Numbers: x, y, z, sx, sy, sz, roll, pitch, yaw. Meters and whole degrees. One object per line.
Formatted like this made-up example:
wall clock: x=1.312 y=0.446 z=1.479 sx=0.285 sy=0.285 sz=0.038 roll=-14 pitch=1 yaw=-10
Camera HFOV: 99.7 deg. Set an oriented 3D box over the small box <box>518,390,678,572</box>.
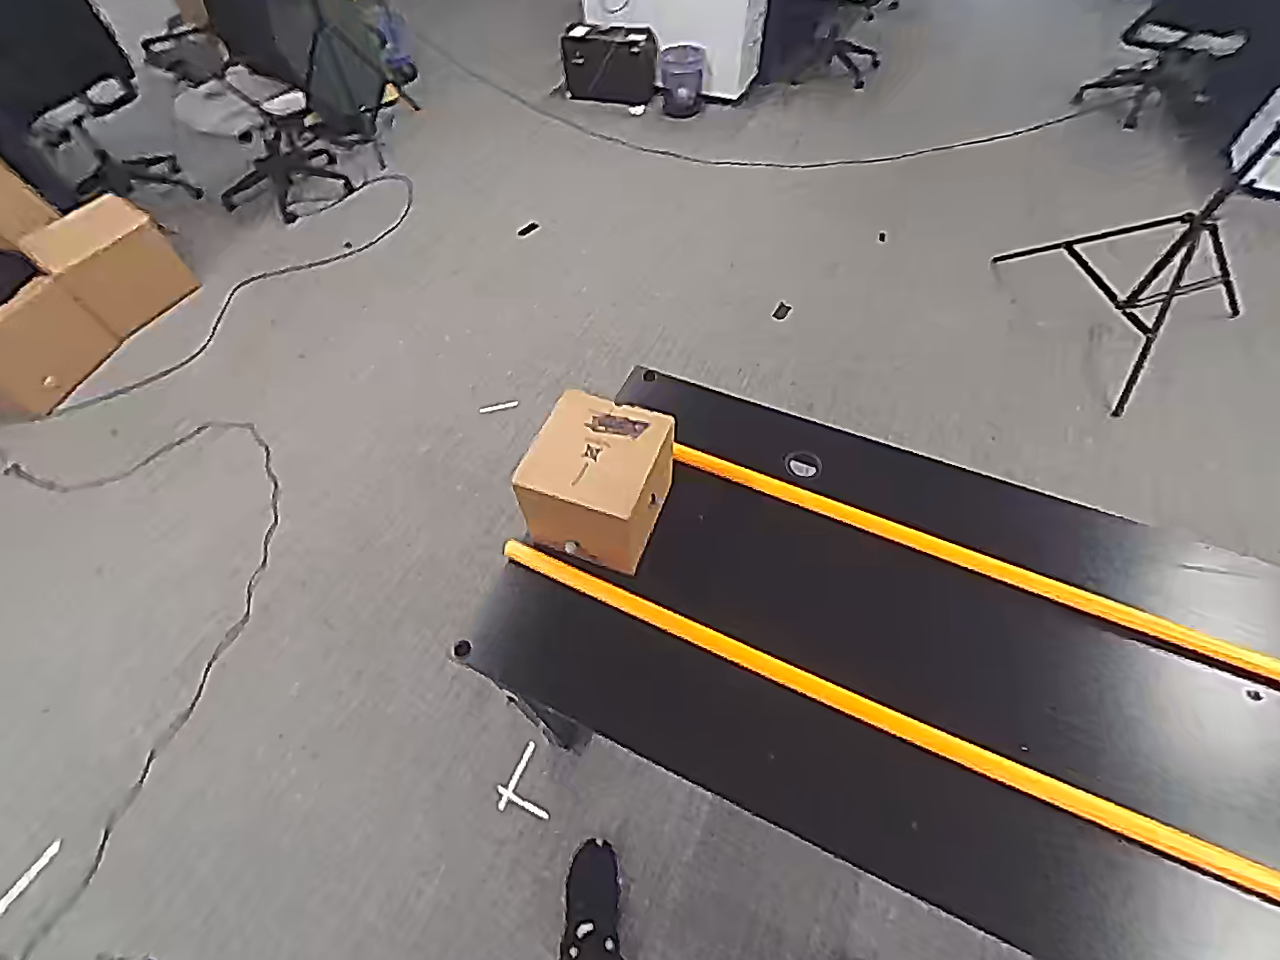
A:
small box: x=-0.052 y=0.005 z=0.784 sx=0.168 sy=0.176 sz=0.179 roll=17 pitch=59 yaw=13
